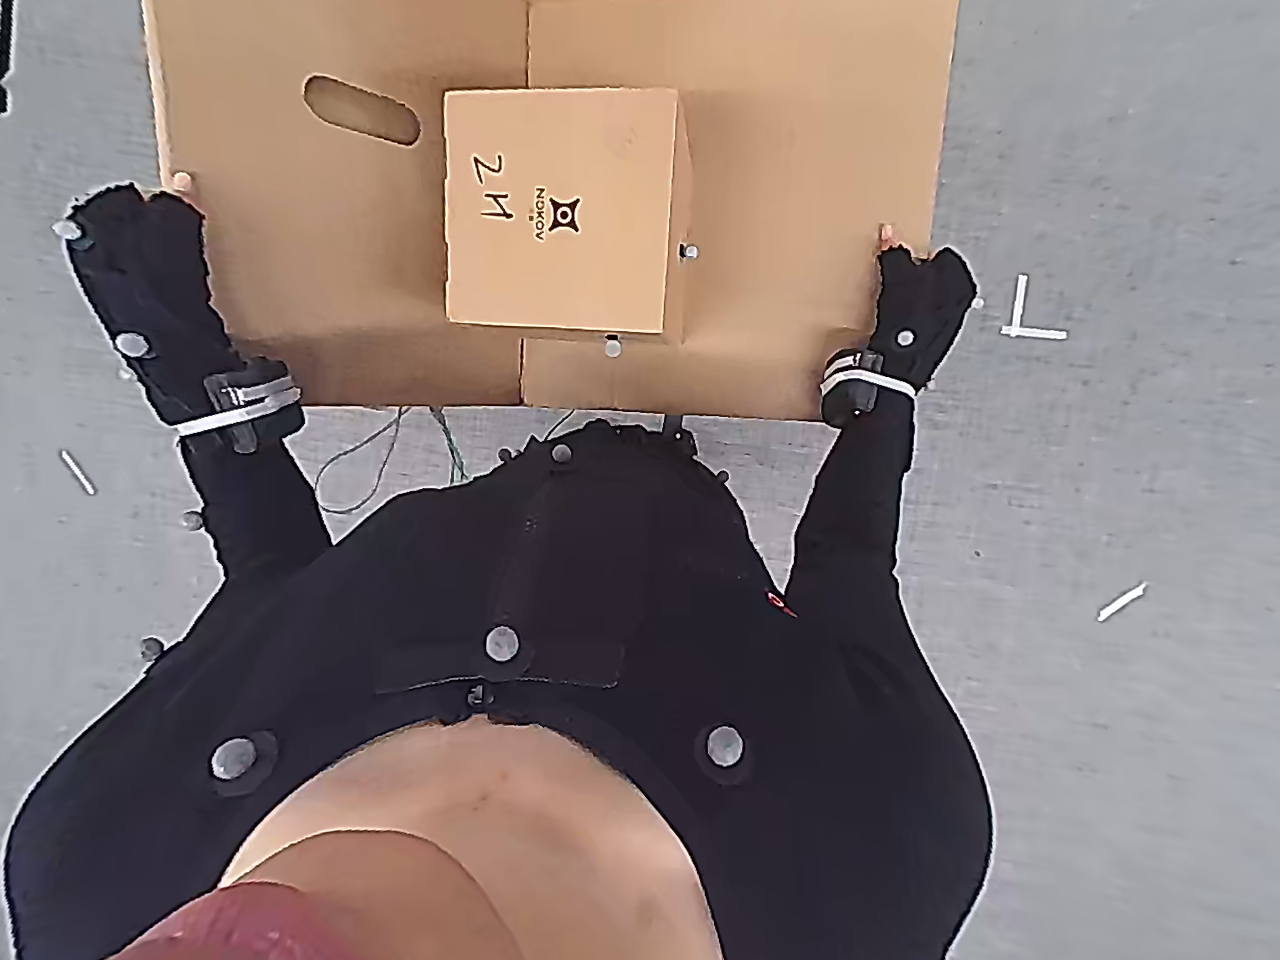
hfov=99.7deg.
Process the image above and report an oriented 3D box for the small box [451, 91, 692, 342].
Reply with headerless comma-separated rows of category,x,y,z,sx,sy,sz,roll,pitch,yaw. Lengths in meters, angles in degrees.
small box,-0.049,-0.217,0.487,0.179,0.176,0.168,6,101,8
